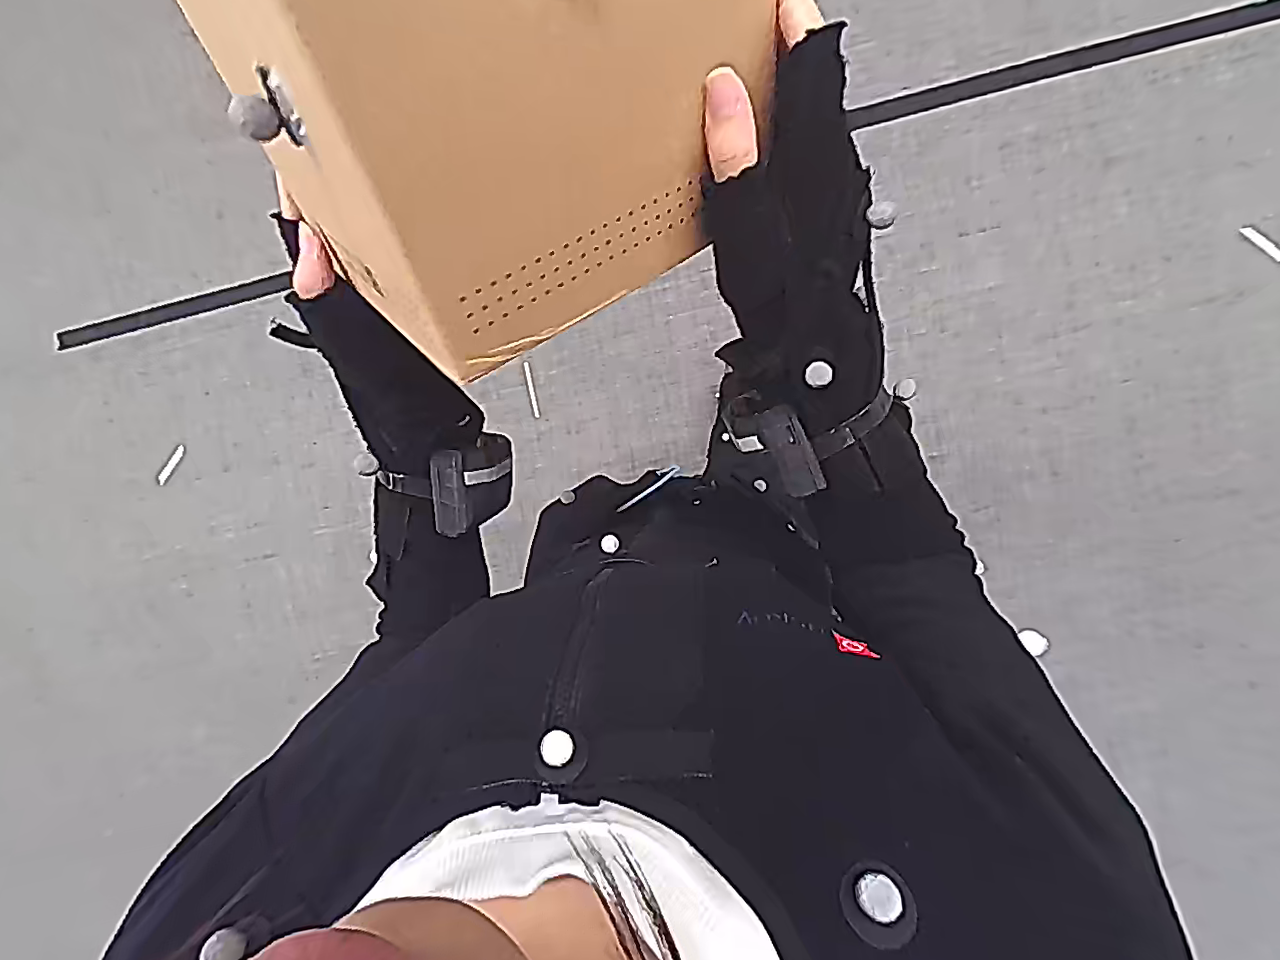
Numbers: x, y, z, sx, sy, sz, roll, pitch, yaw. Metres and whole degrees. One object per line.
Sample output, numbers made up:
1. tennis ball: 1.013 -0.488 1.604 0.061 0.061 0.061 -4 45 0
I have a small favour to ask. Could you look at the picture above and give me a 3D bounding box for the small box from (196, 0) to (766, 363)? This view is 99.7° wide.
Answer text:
1. small box: -0.059 -0.177 0.227 0.179 0.176 0.168 -37 52 -21
